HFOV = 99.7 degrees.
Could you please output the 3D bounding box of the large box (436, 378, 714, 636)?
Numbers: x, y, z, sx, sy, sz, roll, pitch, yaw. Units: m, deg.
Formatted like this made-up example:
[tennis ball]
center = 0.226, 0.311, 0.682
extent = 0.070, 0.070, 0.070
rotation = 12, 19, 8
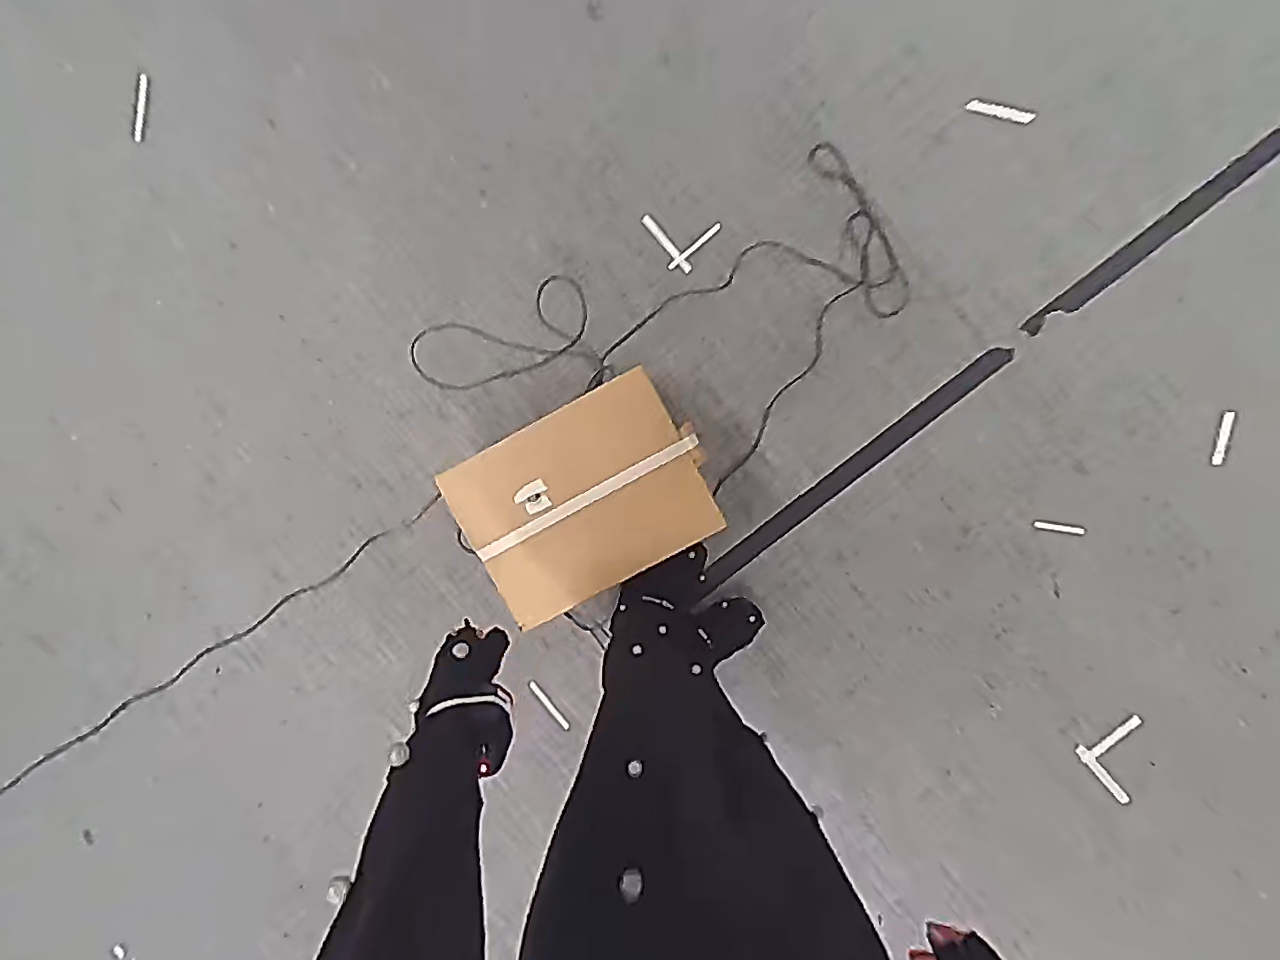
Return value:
[large box]
center = -0.109, 0.035, 1.085
extent = 0.408, 0.320, 0.320
rotation = -29, 94, 4
